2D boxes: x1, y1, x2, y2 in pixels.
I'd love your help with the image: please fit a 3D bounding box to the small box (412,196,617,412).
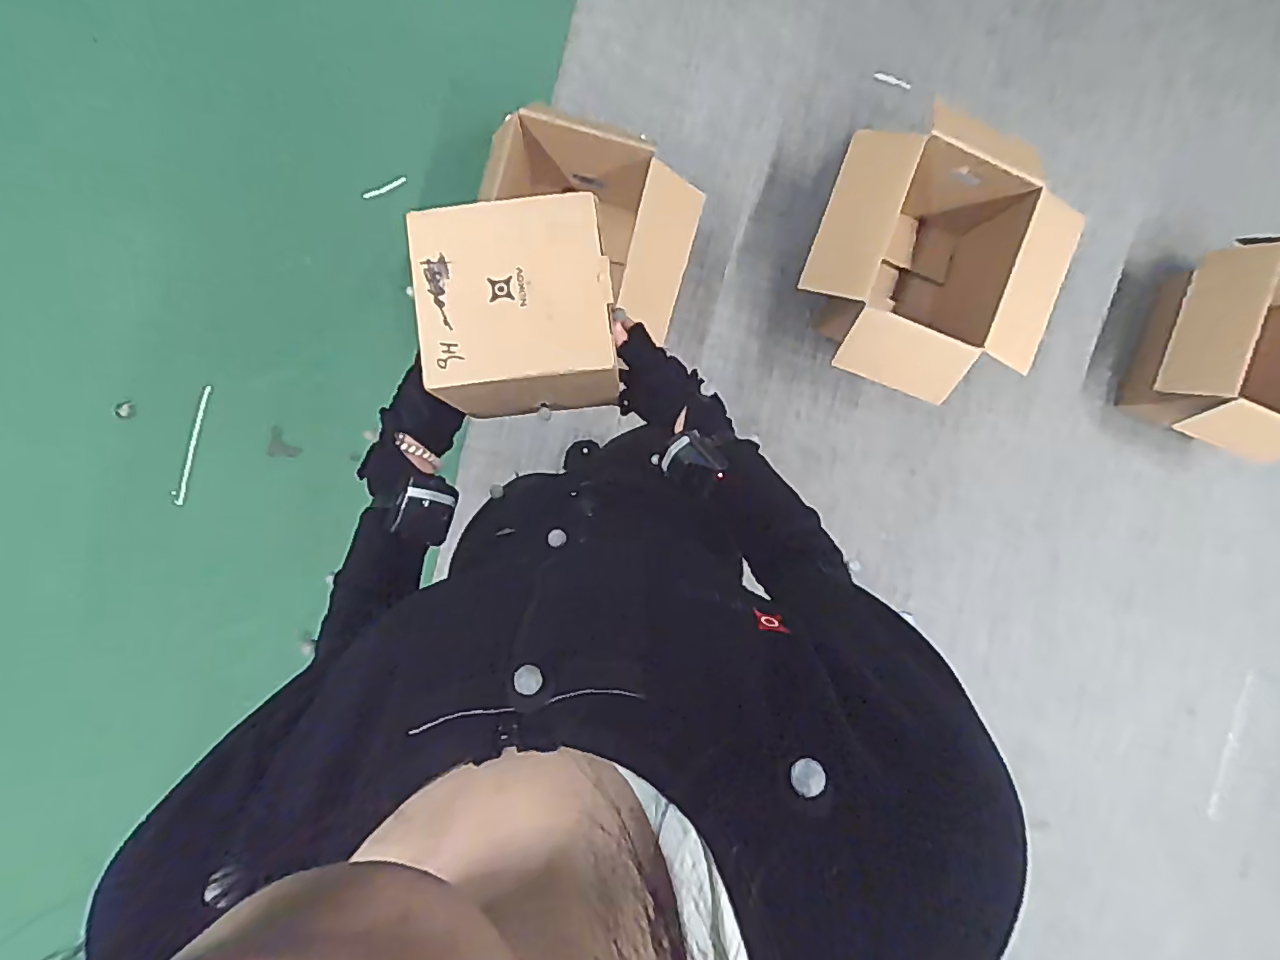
[{"bbox_3d":[-0.120,-0.172,0.574,0.179,0.176,0.168,-6,87,-2],"label":"small box"}]
